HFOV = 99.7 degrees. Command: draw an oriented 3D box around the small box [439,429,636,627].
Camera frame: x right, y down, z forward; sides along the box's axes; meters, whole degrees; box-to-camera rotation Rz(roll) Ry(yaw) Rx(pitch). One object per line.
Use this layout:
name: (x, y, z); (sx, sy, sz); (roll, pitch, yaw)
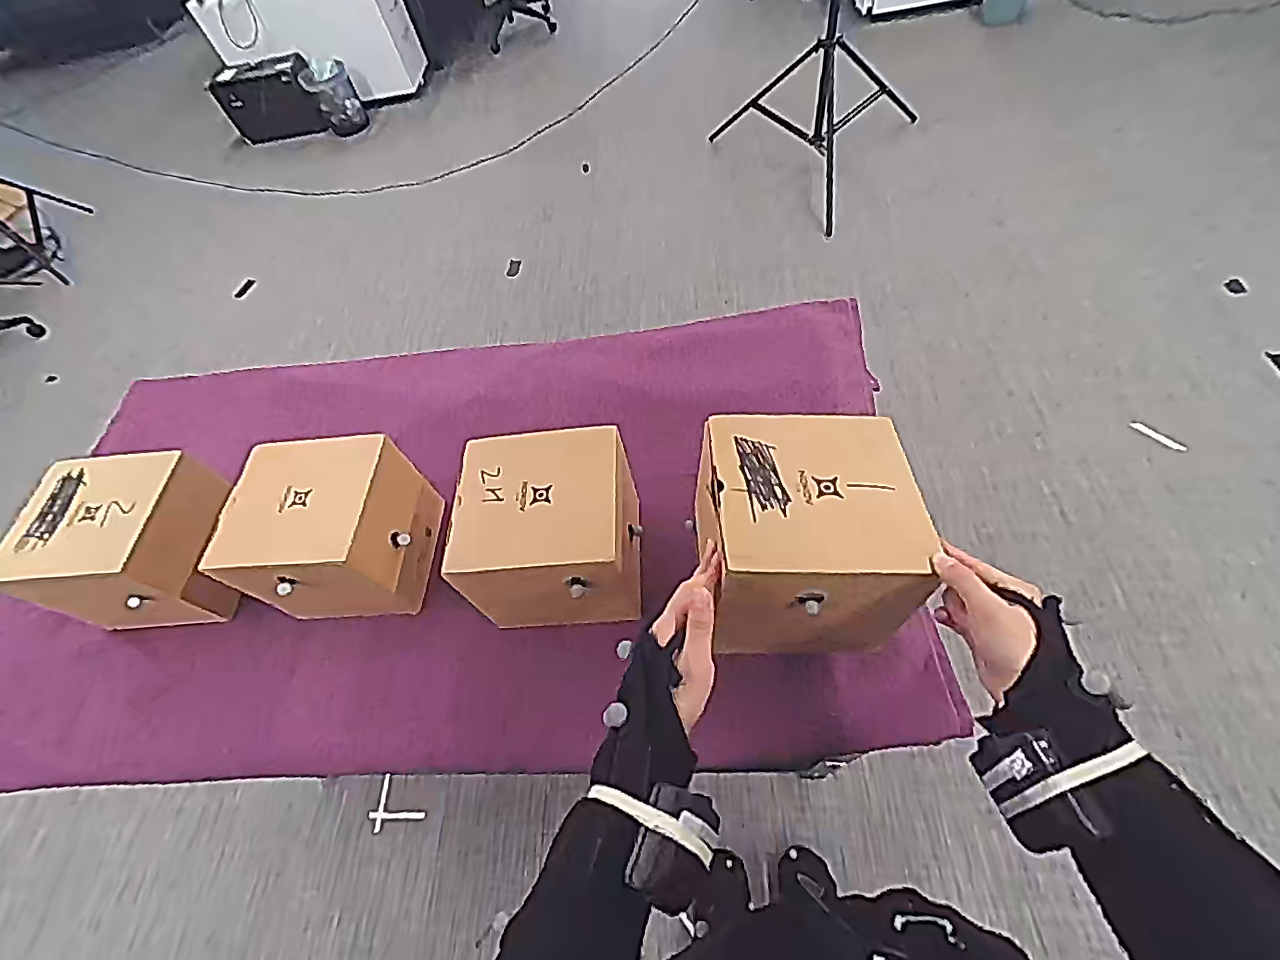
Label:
small box: (-0.099, 0.062, 0.624); (0.179, 0.176, 0.168); (-5, 56, 7)

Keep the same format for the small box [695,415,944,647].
small box: (0.146, 0.054, 0.521); (0.179, 0.176, 0.168); (0, 53, -1)

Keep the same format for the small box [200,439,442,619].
small box: (-0.373, 0.068, 0.674); (0.179, 0.176, 0.168); (-5, 57, 8)
